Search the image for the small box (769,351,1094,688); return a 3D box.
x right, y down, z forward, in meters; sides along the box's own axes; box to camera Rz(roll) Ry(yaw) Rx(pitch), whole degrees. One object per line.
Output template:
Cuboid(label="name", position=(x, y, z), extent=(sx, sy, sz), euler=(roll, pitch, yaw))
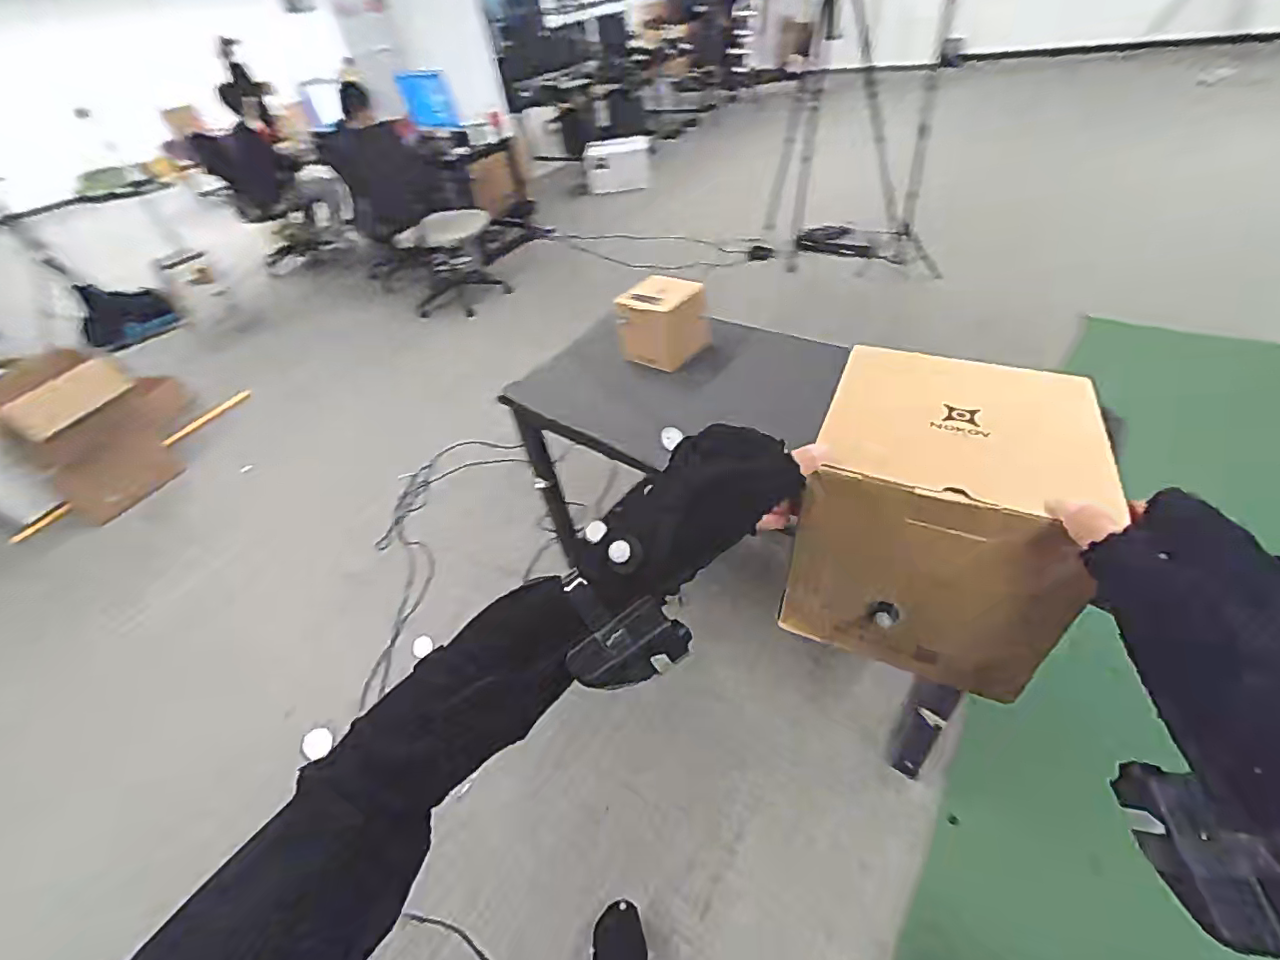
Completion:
Cuboid(label="small box", position=(0.206, 0.023, 0.424), extent=(0.168, 0.176, 0.179), euler=(14, 43, 20))
